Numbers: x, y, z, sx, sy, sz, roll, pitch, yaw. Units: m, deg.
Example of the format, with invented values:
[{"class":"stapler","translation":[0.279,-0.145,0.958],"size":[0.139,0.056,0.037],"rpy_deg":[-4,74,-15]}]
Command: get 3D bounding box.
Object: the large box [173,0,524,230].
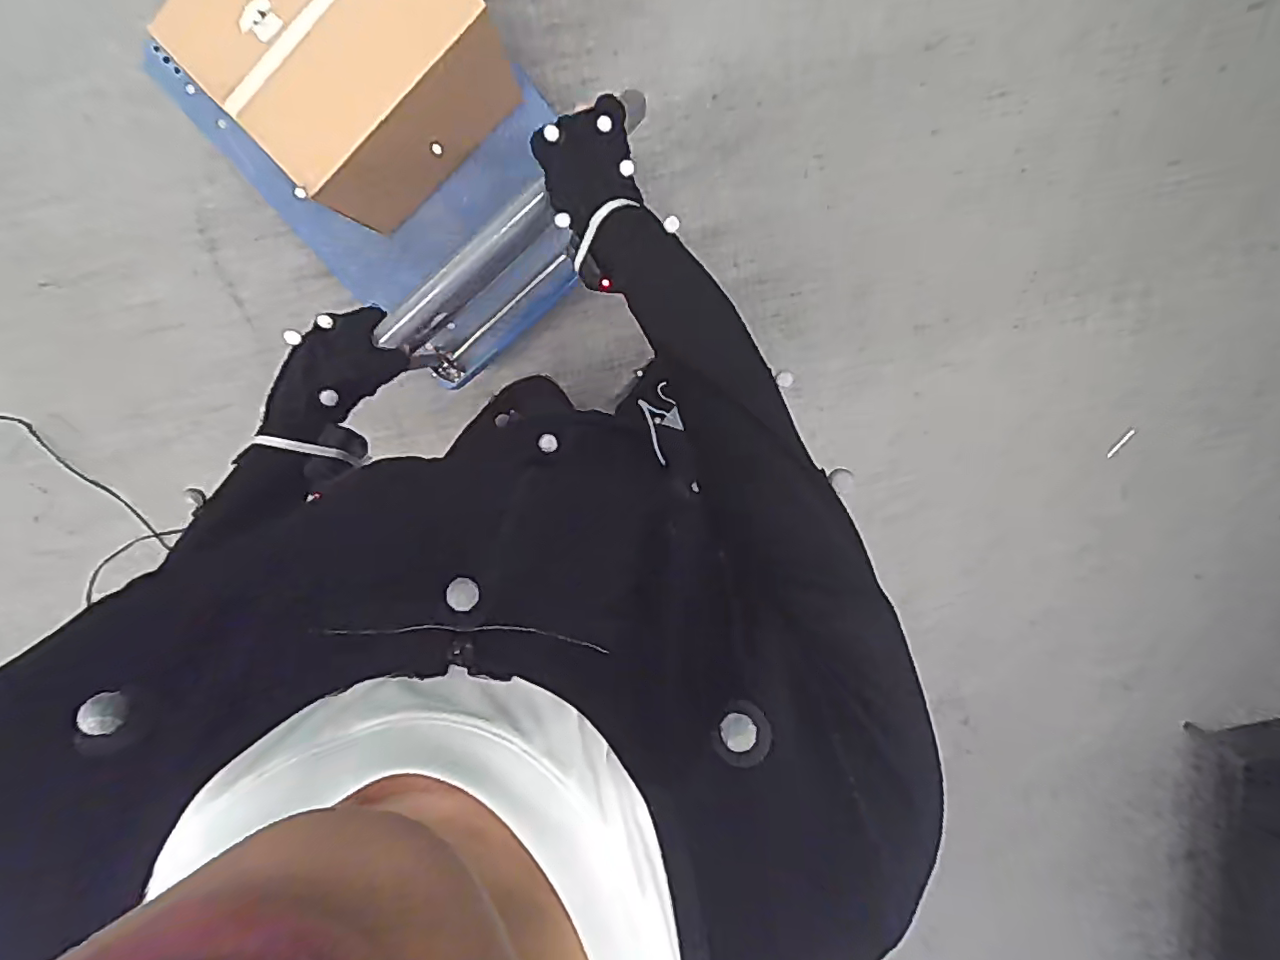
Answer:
[{"class":"large box","translation":[-0.475,-0.739,0.971],"size":[0.408,0.320,0.320],"rpy_deg":[-41,101,8]}]
